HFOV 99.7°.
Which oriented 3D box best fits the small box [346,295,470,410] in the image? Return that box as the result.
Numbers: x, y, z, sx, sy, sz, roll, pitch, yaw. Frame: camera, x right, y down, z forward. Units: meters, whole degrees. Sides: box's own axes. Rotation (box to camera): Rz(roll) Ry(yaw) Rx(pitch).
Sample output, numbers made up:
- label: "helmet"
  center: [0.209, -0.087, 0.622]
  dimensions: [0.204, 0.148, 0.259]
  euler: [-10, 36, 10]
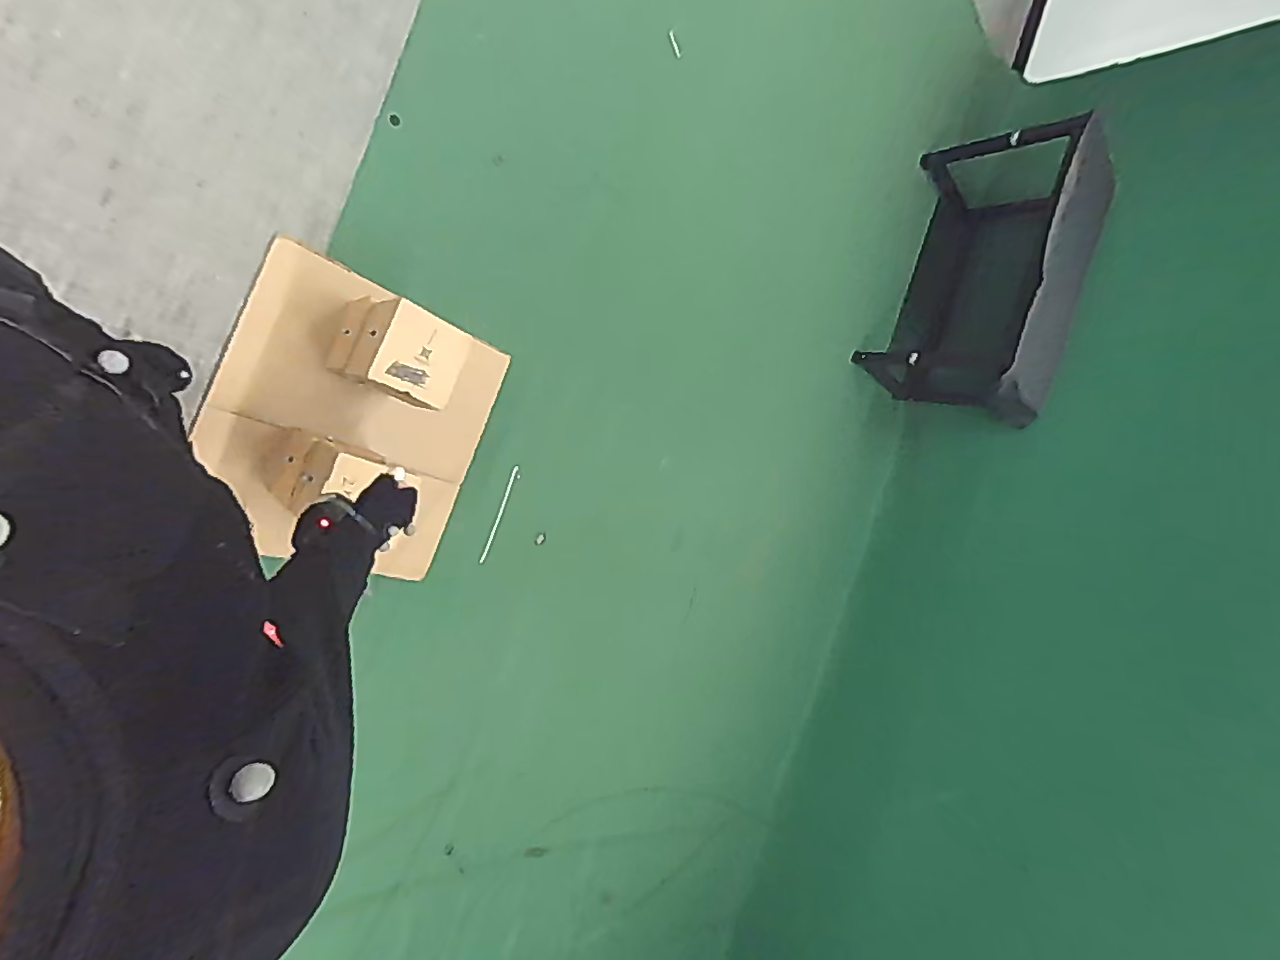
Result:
- label: "small box"
  center: [-0.501, -0.267, 1.155]
  dimensions: [0.168, 0.176, 0.179]
  euler: [27, 81, -43]

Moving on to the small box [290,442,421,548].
- label: "small box"
  center: [-0.605, 0.028, 1.145]
  dimensions: [0.179, 0.176, 0.168]
  euler: [24, 84, -43]

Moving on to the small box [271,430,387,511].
- label: "small box"
  center: [-0.722, -0.009, 1.257]
  dimensions: [0.179, 0.176, 0.168]
  euler: [21, 87, -43]
